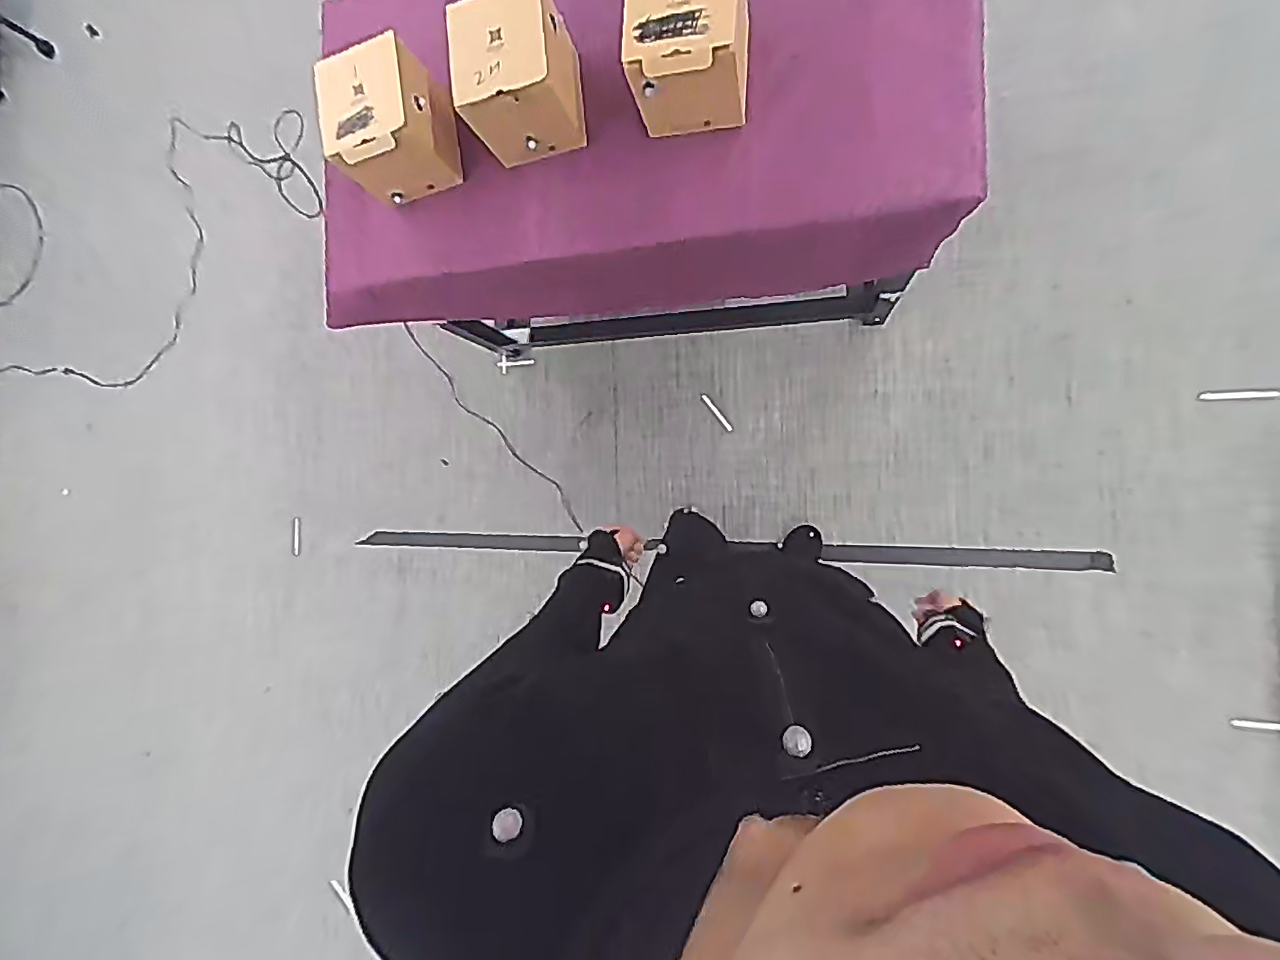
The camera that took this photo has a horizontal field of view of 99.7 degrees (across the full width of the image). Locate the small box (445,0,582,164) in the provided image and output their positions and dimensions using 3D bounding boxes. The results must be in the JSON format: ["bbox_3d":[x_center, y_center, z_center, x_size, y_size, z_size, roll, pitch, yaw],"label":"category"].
[{"bbox_3d":[-0.208,-0.684,0.919,0.168,0.176,0.179,-6,88,15],"label":"small box"}]

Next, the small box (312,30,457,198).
[{"bbox_3d":[-0.453,-0.645,0.983,0.168,0.176,0.179,-10,86,14],"label":"small box"}]
